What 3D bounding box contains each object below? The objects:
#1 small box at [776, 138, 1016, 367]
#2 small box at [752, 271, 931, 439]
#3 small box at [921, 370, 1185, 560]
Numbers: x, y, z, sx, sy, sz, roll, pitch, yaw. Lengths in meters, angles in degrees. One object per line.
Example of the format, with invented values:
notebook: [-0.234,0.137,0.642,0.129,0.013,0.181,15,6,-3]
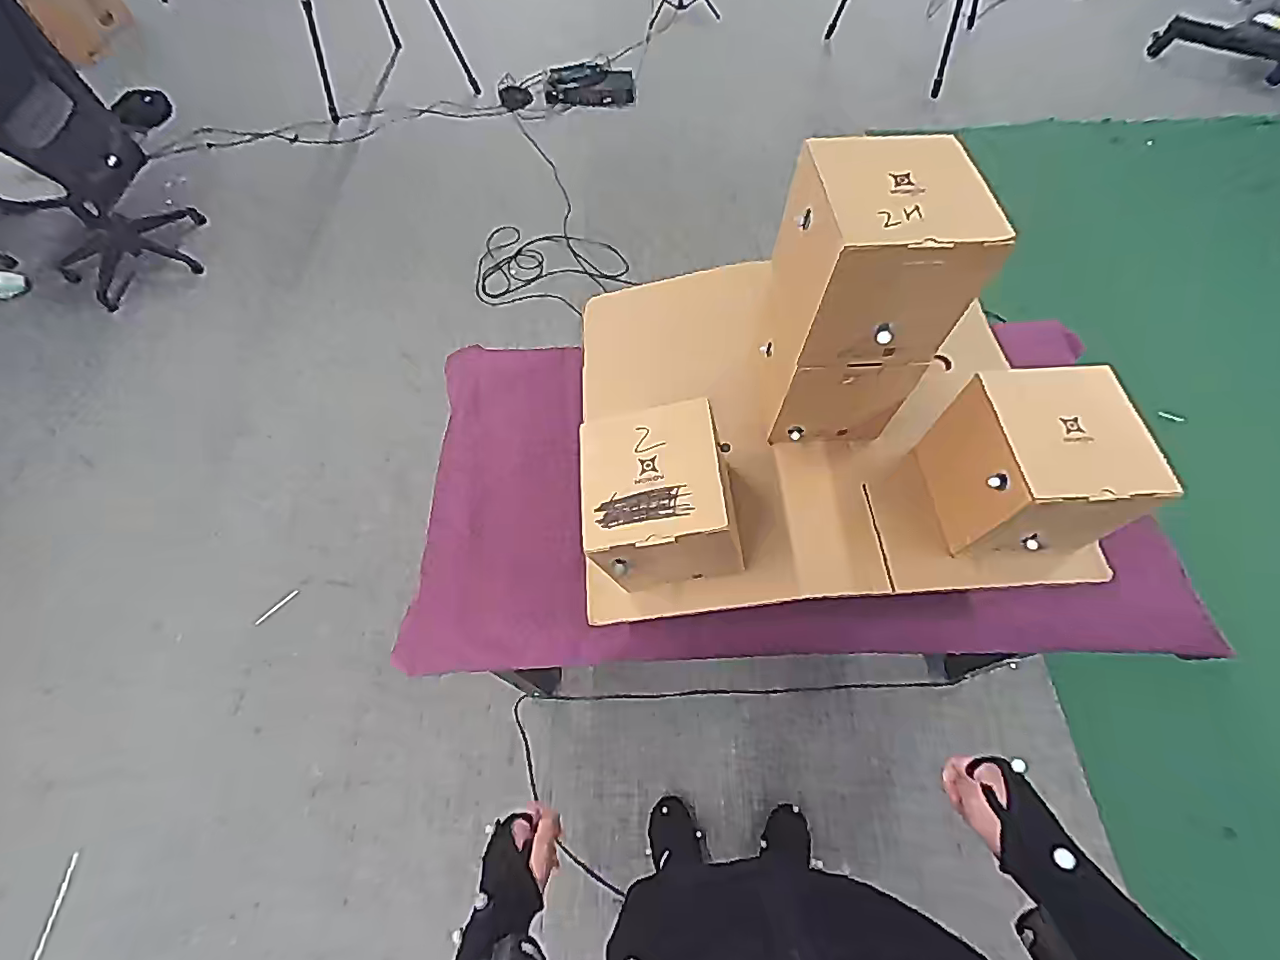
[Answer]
small box: [0.261,-0.249,0.606,0.168,0.176,0.179,-3,62,-2]
small box: [0.261,-0.167,0.748,0.168,0.176,0.179,-3,61,-2]
small box: [0.482,-0.014,0.669,0.168,0.176,0.179,-3,62,-2]
